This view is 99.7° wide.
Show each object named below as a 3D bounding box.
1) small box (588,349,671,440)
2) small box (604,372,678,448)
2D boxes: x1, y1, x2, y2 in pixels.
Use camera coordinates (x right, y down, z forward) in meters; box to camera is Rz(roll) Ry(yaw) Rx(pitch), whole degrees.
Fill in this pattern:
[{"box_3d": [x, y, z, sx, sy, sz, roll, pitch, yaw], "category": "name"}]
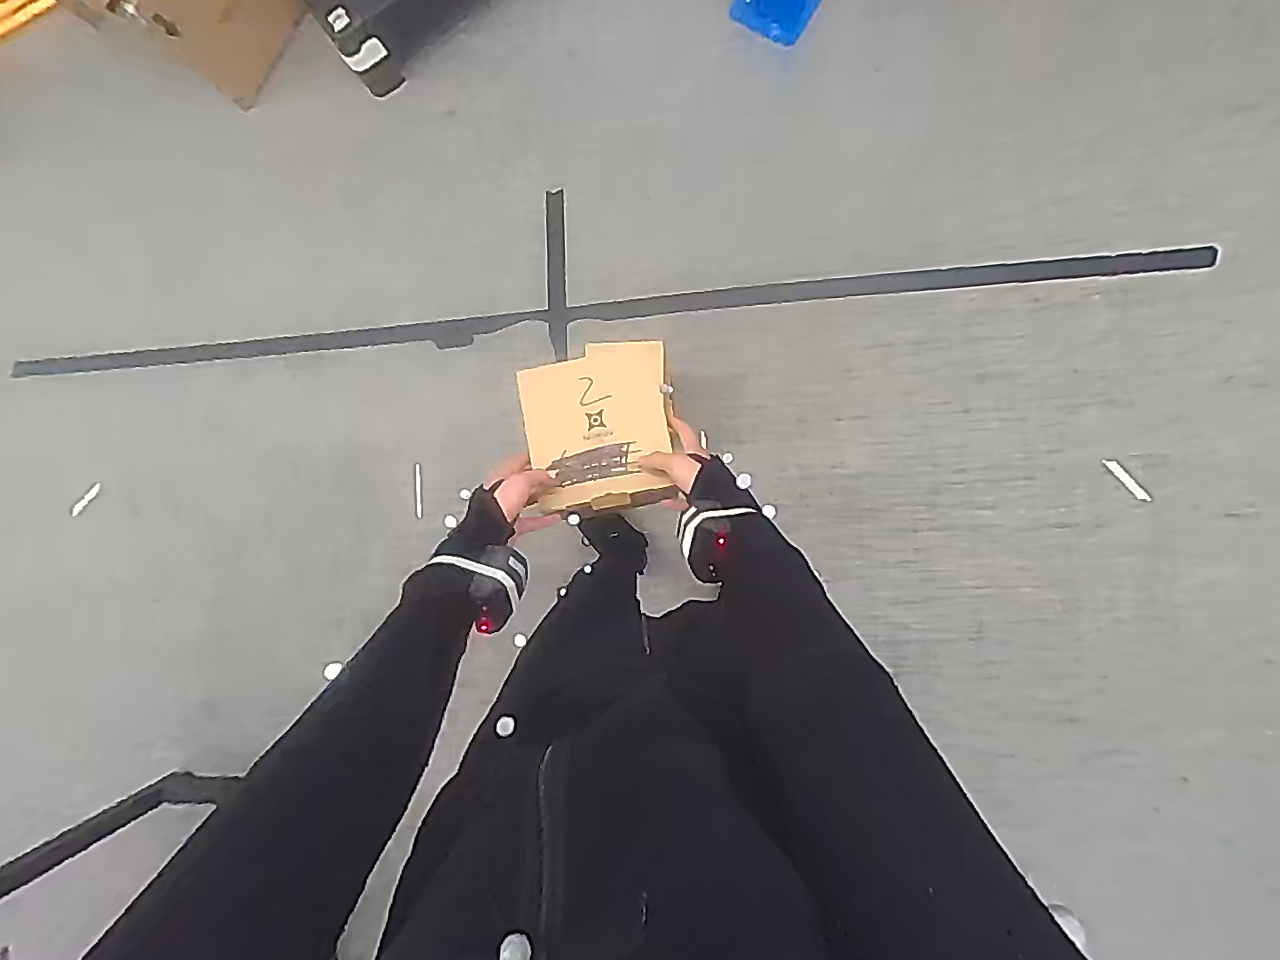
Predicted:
[{"box_3d": [-0.020, -0.184, 1.203, 0.168, 0.176, 0.179, 0, 91, 7], "category": "small box"}, {"box_3d": [0.004, -0.172, 1.365, 0.179, 0.176, 0.168, -5, 89, 8], "category": "small box"}]
